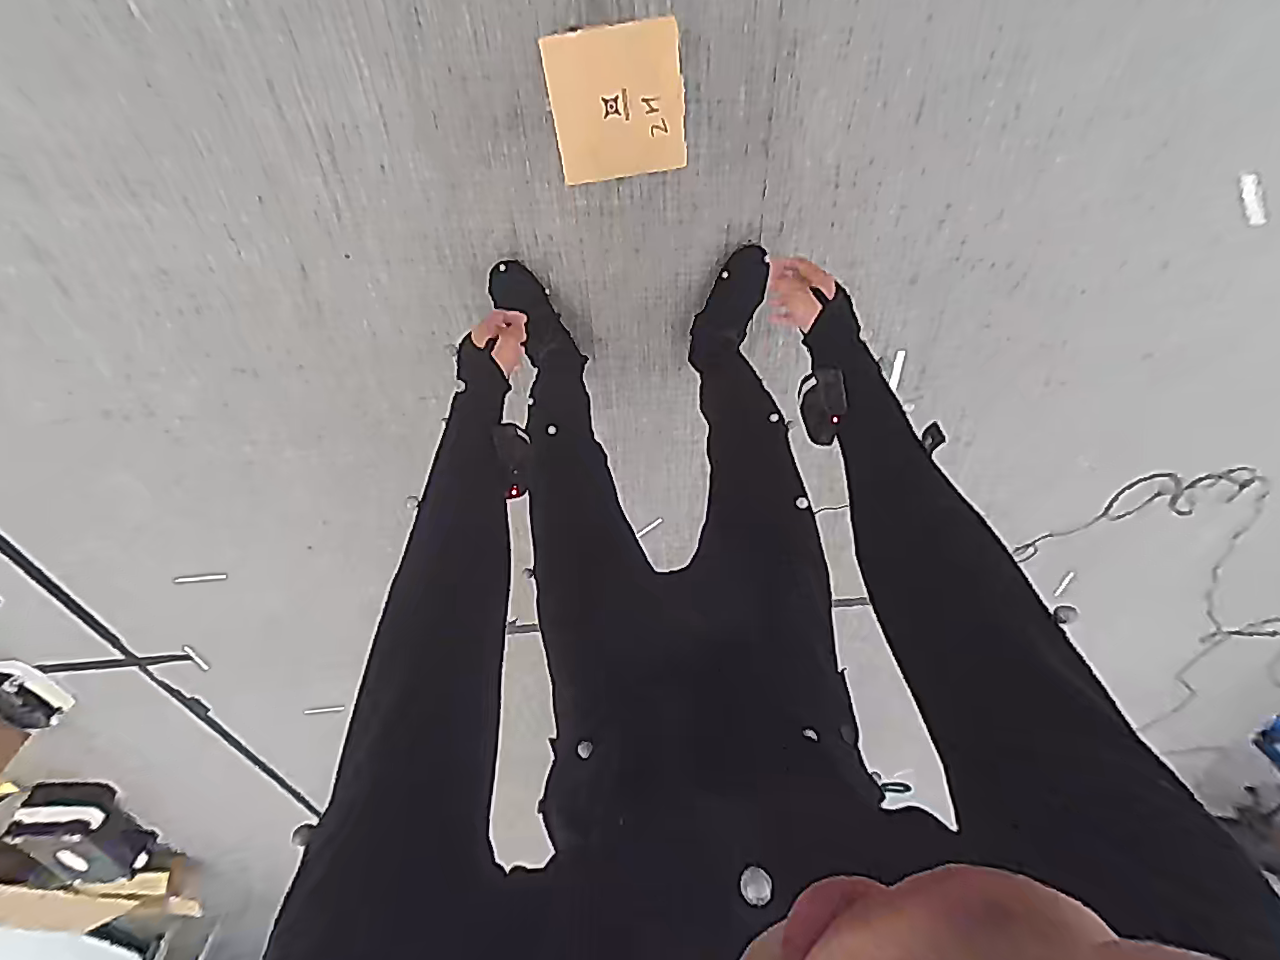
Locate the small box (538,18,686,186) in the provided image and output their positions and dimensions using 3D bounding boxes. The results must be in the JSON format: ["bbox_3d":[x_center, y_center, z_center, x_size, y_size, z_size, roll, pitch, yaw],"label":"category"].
[{"bbox_3d":[-0.034,-0.533,0.766,0.179,0.176,0.168,-8,129,2],"label":"small box"}]

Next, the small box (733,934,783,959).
[{"bbox_3d":[0.449,1.843,2.039,0.179,0.176,0.168,-6,131,0],"label":"small box"}]
